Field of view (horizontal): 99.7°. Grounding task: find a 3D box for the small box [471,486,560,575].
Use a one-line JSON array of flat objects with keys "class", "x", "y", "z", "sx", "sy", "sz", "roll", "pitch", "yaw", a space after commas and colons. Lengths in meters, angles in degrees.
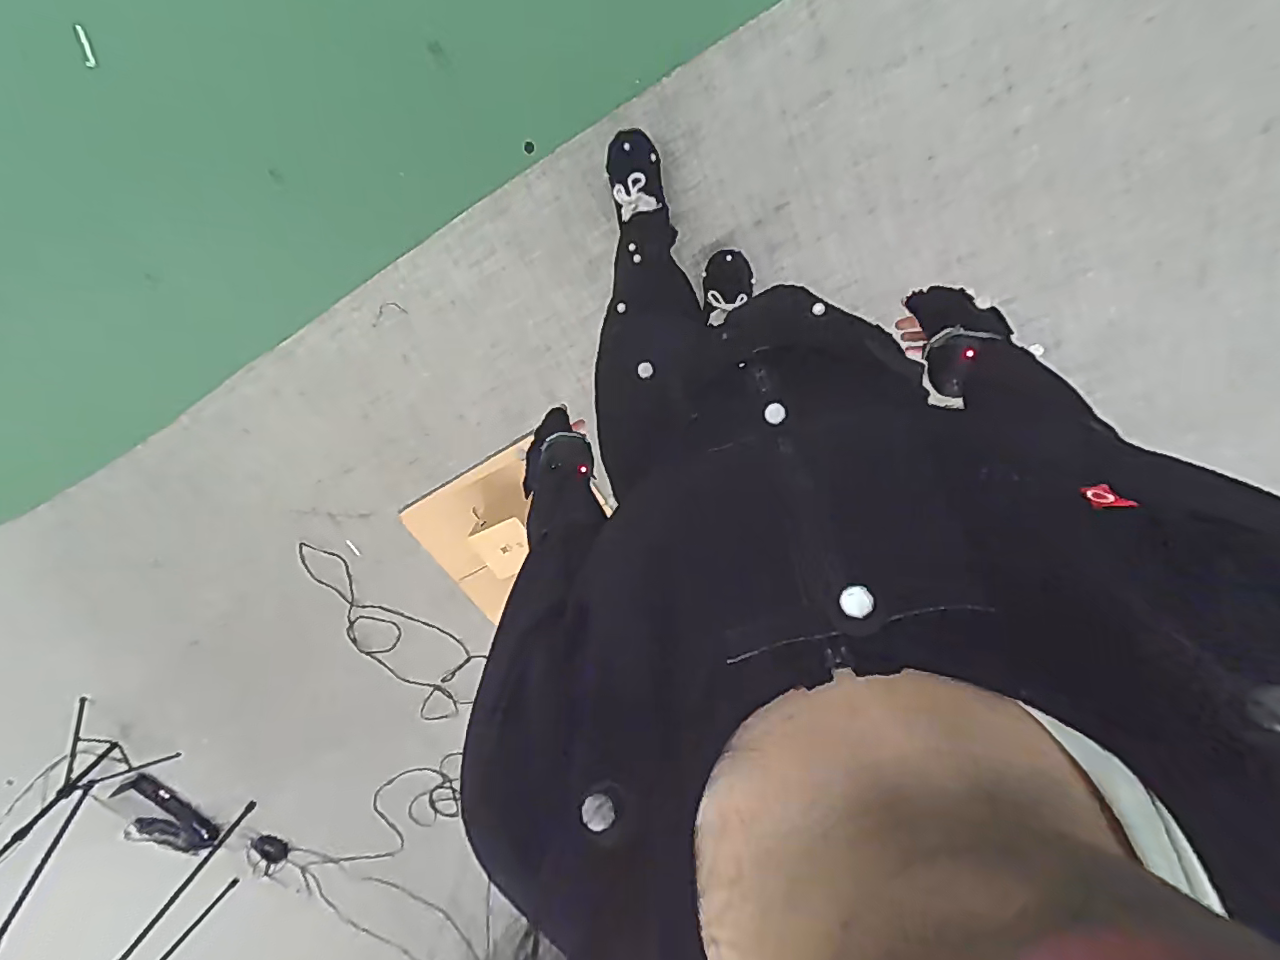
[{"class": "small box", "x": -0.360, "y": 0.147, "z": 1.597, "sx": 0.179, "sy": 0.176, "sz": 0.168, "roll": -24, "pitch": 114, "yaw": 15}]
